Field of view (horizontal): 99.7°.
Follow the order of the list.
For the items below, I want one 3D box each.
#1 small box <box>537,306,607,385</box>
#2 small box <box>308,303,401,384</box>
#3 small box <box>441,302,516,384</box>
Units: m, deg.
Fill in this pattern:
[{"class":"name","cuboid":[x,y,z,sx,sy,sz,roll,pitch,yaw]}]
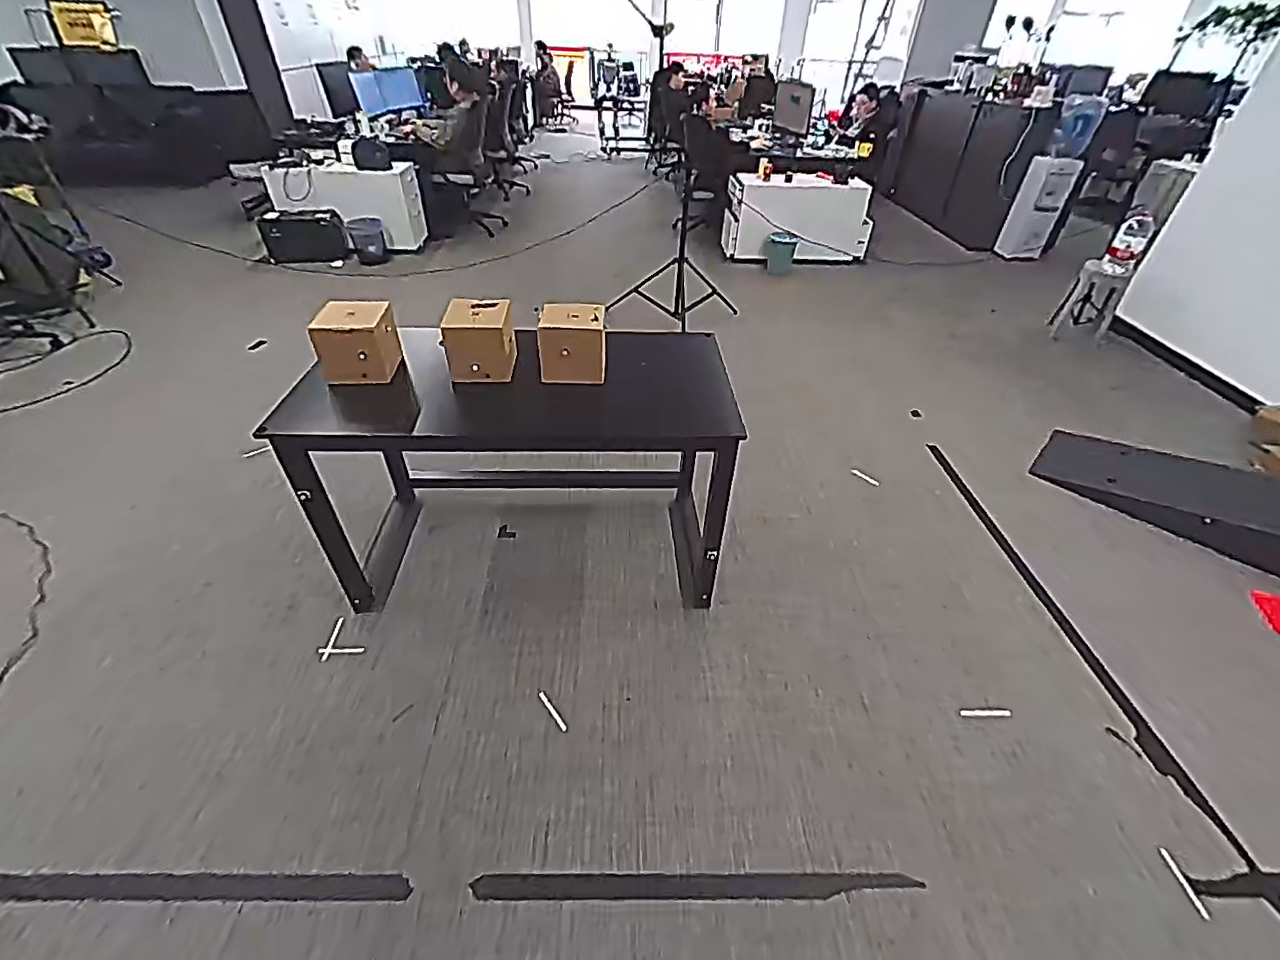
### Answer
[{"class":"small box","cuboid":[-0.187,-0.382,1.538,0.179,0.176,0.168,0,40,-1]},{"class":"small box","cuboid":[-0.779,-0.377,1.499,0.168,0.176,0.179,-1,39,-7]},{"class":"small box","cuboid":[-0.447,-0.388,1.530,0.168,0.176,0.179,-1,41,-4]}]
